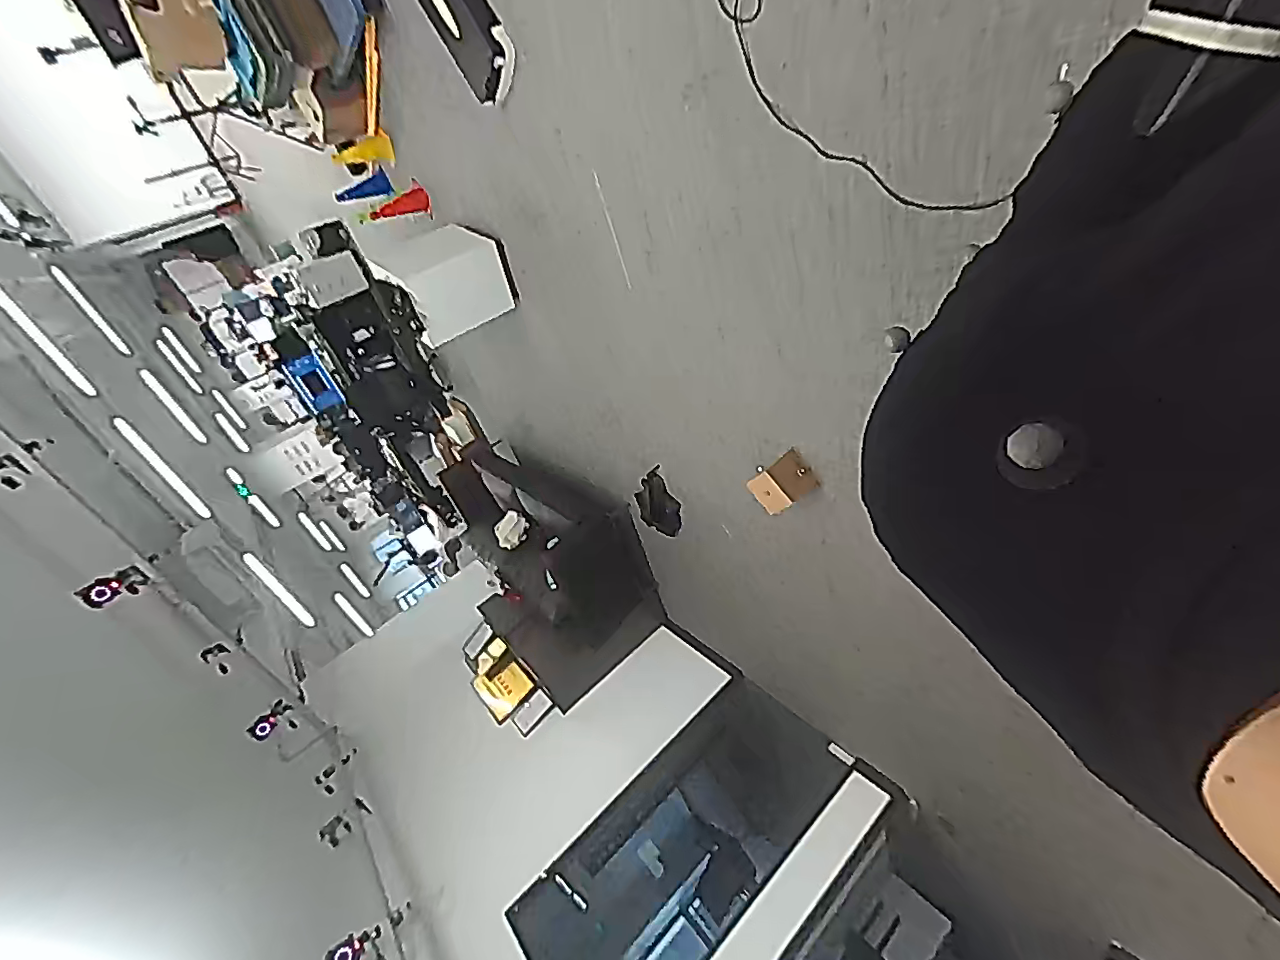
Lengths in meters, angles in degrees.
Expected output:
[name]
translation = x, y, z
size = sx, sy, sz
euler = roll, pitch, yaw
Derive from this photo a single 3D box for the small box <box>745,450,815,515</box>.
[small box]
translation = 0.559, 0.009, 2.154
size = 0.168, 0.176, 0.179
euler = 50, 155, 5
